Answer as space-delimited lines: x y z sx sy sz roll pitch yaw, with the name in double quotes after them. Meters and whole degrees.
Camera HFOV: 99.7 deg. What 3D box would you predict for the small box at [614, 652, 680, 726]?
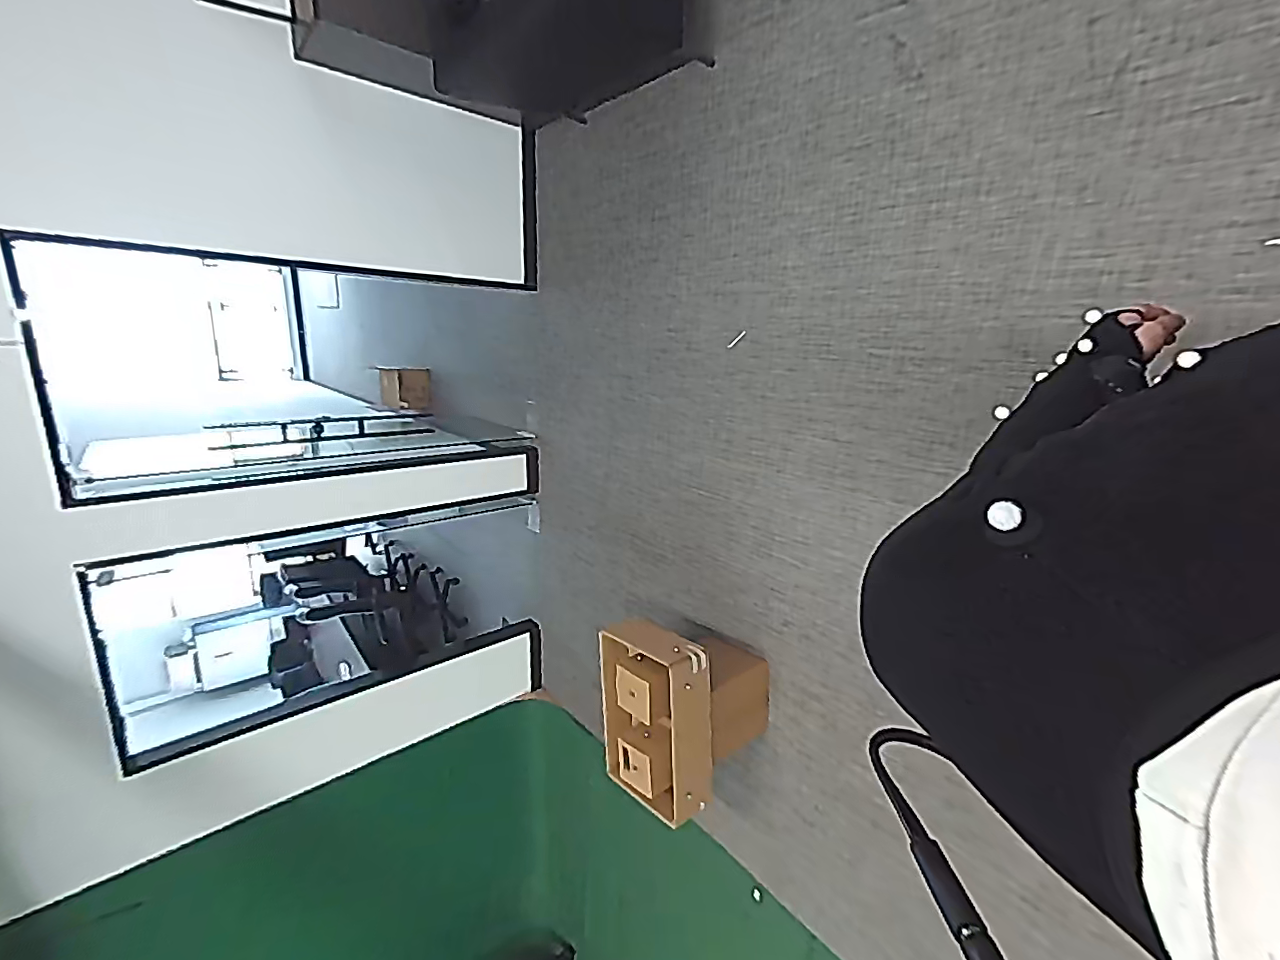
0.025 0.738 1.938 0.179 0.176 0.168 11 107 47 "small box"
